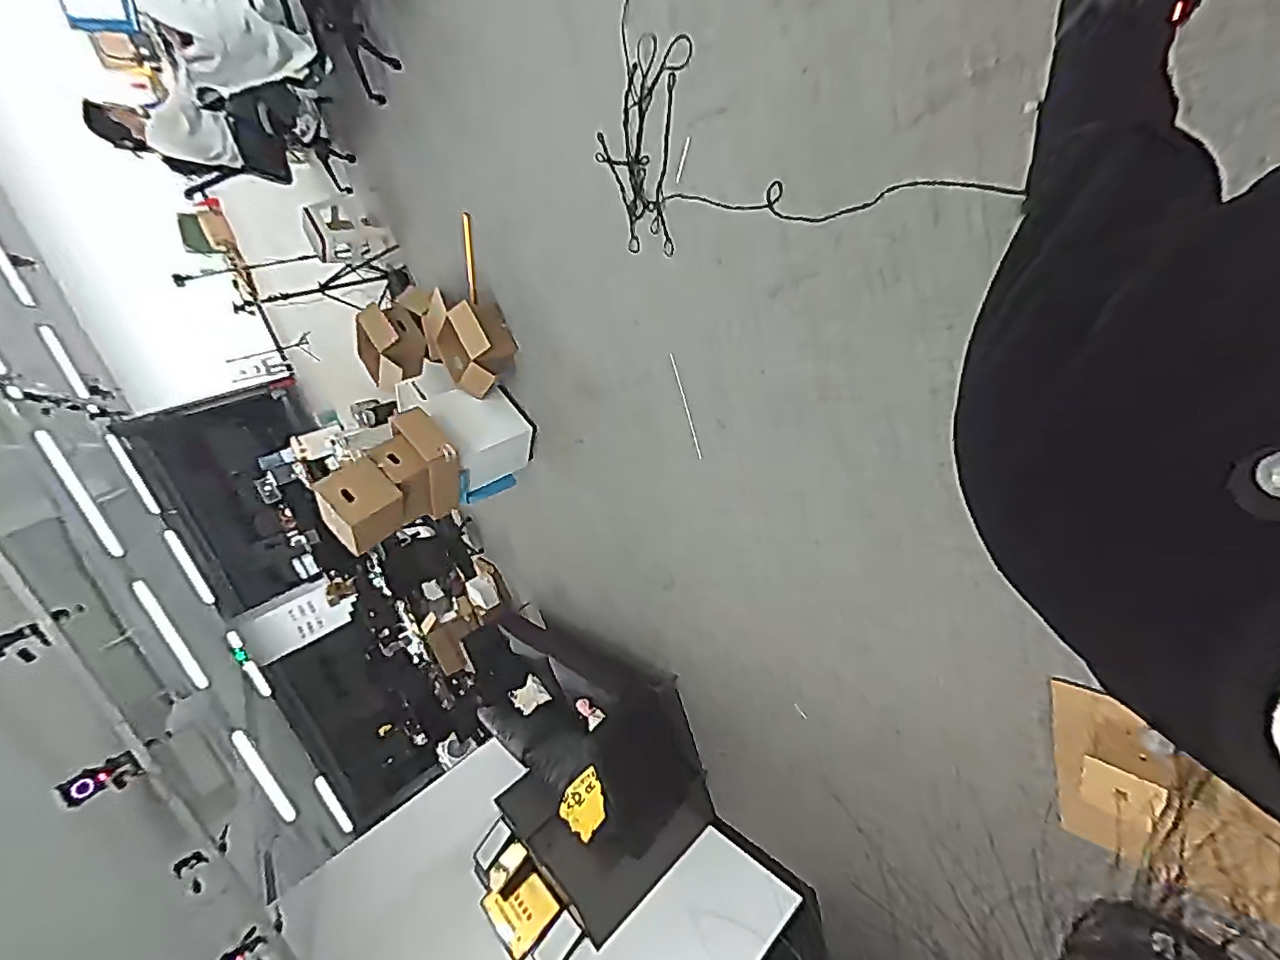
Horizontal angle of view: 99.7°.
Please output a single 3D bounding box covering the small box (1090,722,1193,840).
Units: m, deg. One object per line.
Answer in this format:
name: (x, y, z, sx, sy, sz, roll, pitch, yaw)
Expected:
small box: (1.316, 0.778, 1.420, 0.168, 0.176, 0.179, 13, 124, 51)
